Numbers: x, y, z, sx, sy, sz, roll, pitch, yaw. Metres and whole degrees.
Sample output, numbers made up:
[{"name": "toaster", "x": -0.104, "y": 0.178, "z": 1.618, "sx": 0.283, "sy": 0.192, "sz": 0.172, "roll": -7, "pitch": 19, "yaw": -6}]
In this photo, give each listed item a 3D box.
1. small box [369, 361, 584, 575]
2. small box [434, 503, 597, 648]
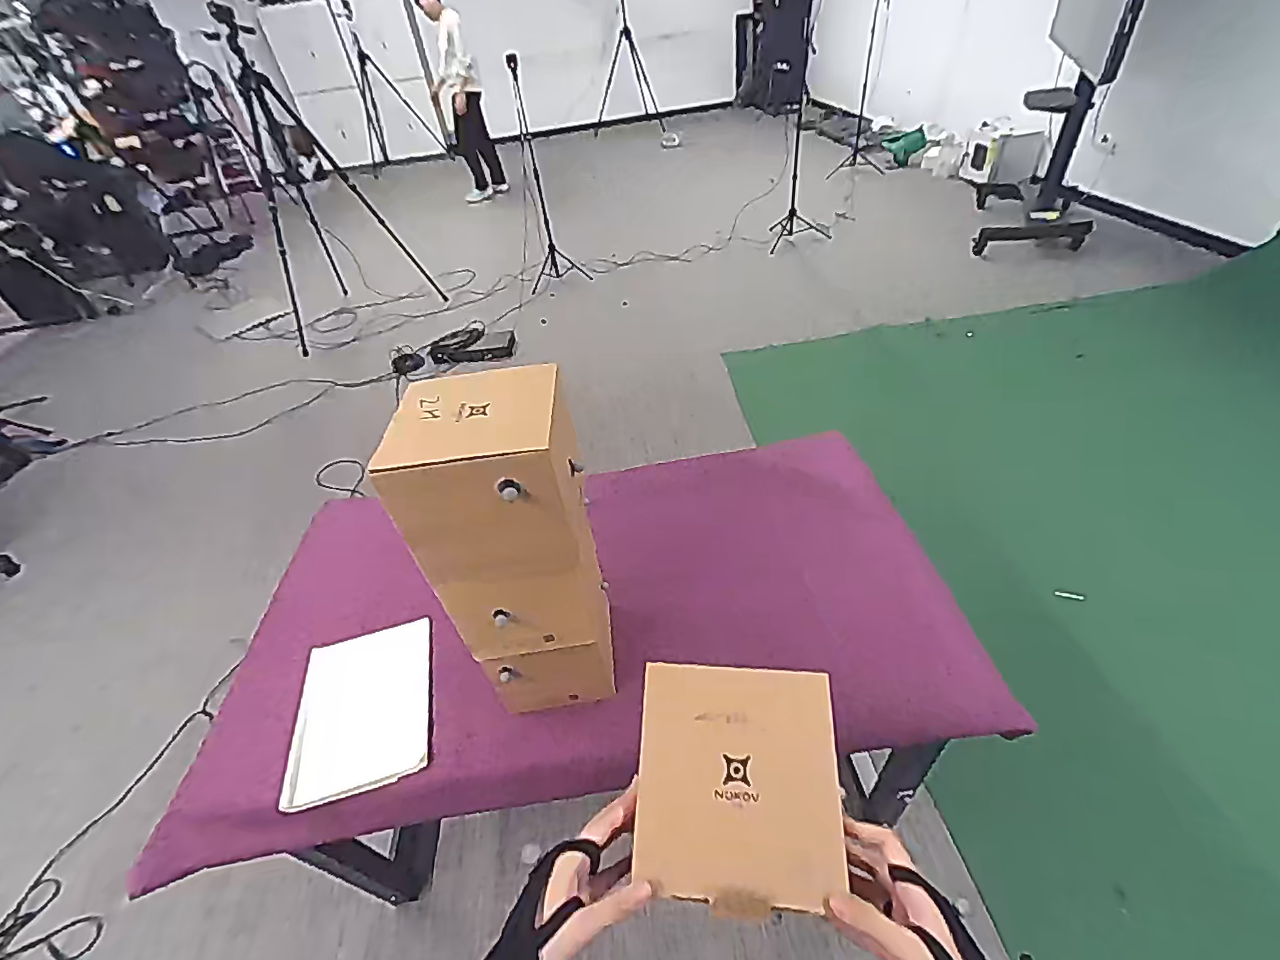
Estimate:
[{"name": "small box", "x": -0.162, "y": -0.012, "z": 0.611, "sx": 0.179, "sy": 0.176, "sz": 0.168, "roll": -7, "pitch": 40, "yaw": 2}, {"name": "small box", "x": -0.152, "y": 0.108, "z": 0.725, "sx": 0.168, "sy": 0.176, "sz": 0.179, "roll": -9, "pitch": 41, "yaw": 0}]
